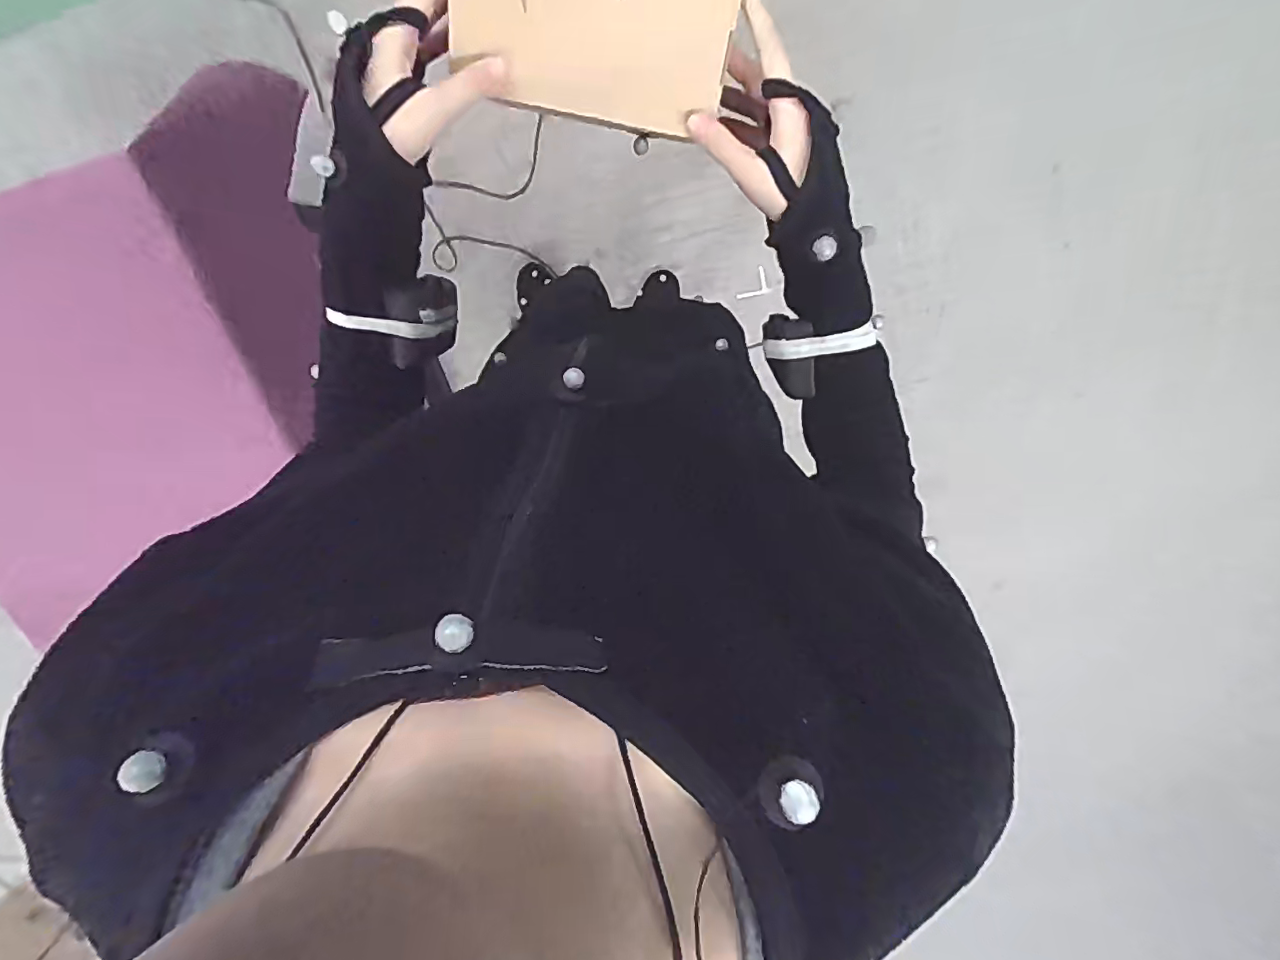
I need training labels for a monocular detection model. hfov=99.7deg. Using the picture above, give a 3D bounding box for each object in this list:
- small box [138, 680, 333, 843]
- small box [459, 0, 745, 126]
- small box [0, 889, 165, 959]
[{"bbox_3d":[-0.640,0.454,0.885,0.168,0.176,0.179,-3,110,4],"label":"small box"},{"bbox_3d":[-0.020,-0.367,0.386,0.179,0.176,0.168,8,120,-7],"label":"small box"},{"bbox_3d":[-0.665,0.584,0.583,0.168,0.176,0.179,4,111,2],"label":"small box"}]
